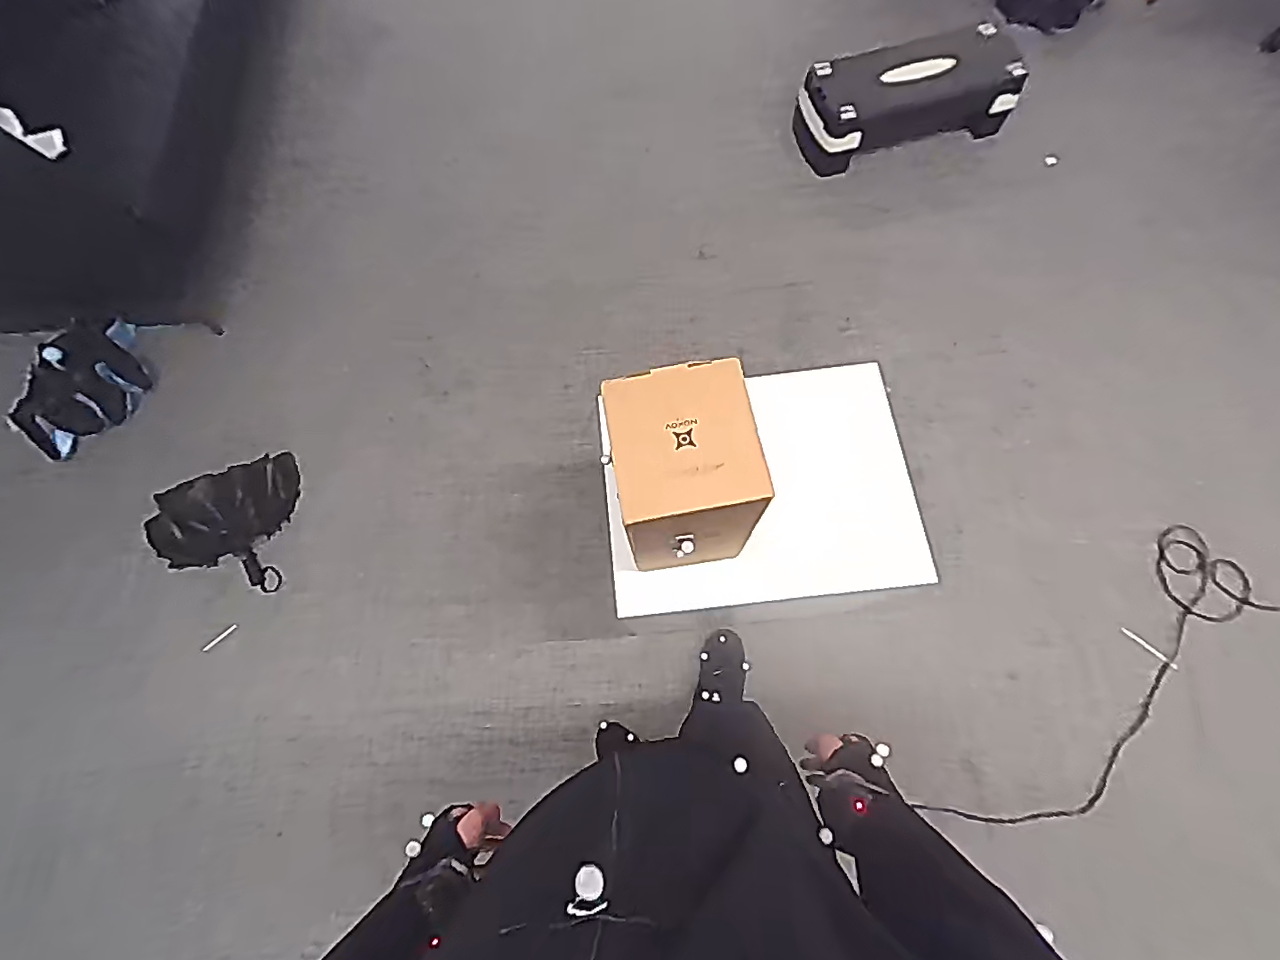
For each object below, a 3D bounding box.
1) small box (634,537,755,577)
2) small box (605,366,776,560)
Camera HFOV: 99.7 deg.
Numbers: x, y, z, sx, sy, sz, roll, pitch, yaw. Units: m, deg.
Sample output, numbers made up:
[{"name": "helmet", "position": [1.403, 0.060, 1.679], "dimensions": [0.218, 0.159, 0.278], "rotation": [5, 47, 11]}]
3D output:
[{"name": "small box", "position": [0.069, 0.040, 0.827], "dimensions": [0.168, 0.176, 0.179], "rotation": [-9, 71, 1]}, {"name": "small box", "position": [0.056, -0.012, 0.671], "dimensions": [0.168, 0.176, 0.179], "rotation": [-11, 70, 1]}]
